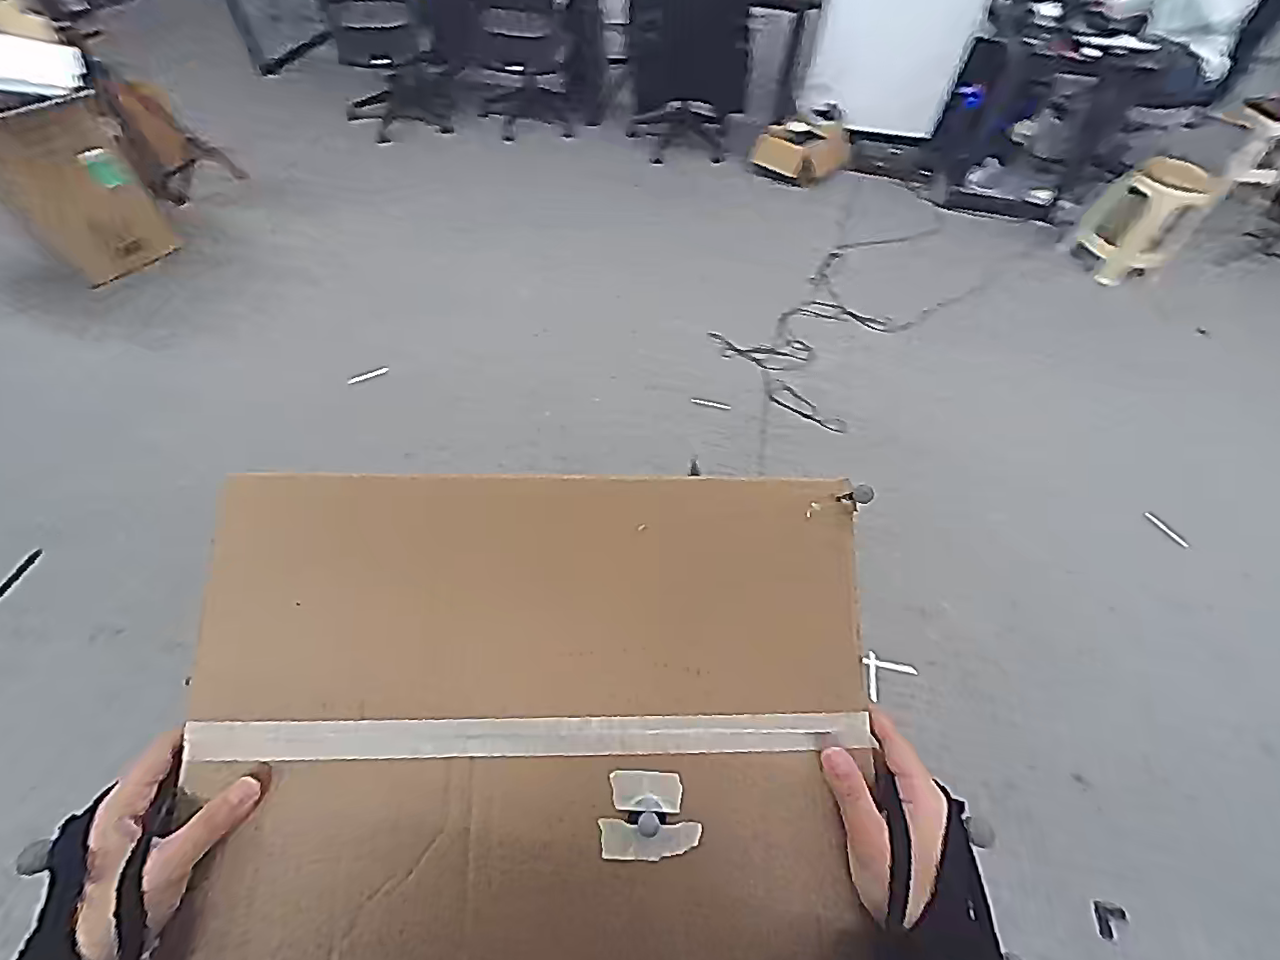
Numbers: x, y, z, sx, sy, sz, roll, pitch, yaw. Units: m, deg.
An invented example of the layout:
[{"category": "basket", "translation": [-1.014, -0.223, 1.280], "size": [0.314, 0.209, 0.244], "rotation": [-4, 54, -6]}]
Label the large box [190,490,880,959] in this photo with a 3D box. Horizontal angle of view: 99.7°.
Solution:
[{"category": "large box", "translation": [-0.063, 0.189, 0.481], "size": [0.408, 0.320, 0.320], "rotation": [2, 80, -3]}]
